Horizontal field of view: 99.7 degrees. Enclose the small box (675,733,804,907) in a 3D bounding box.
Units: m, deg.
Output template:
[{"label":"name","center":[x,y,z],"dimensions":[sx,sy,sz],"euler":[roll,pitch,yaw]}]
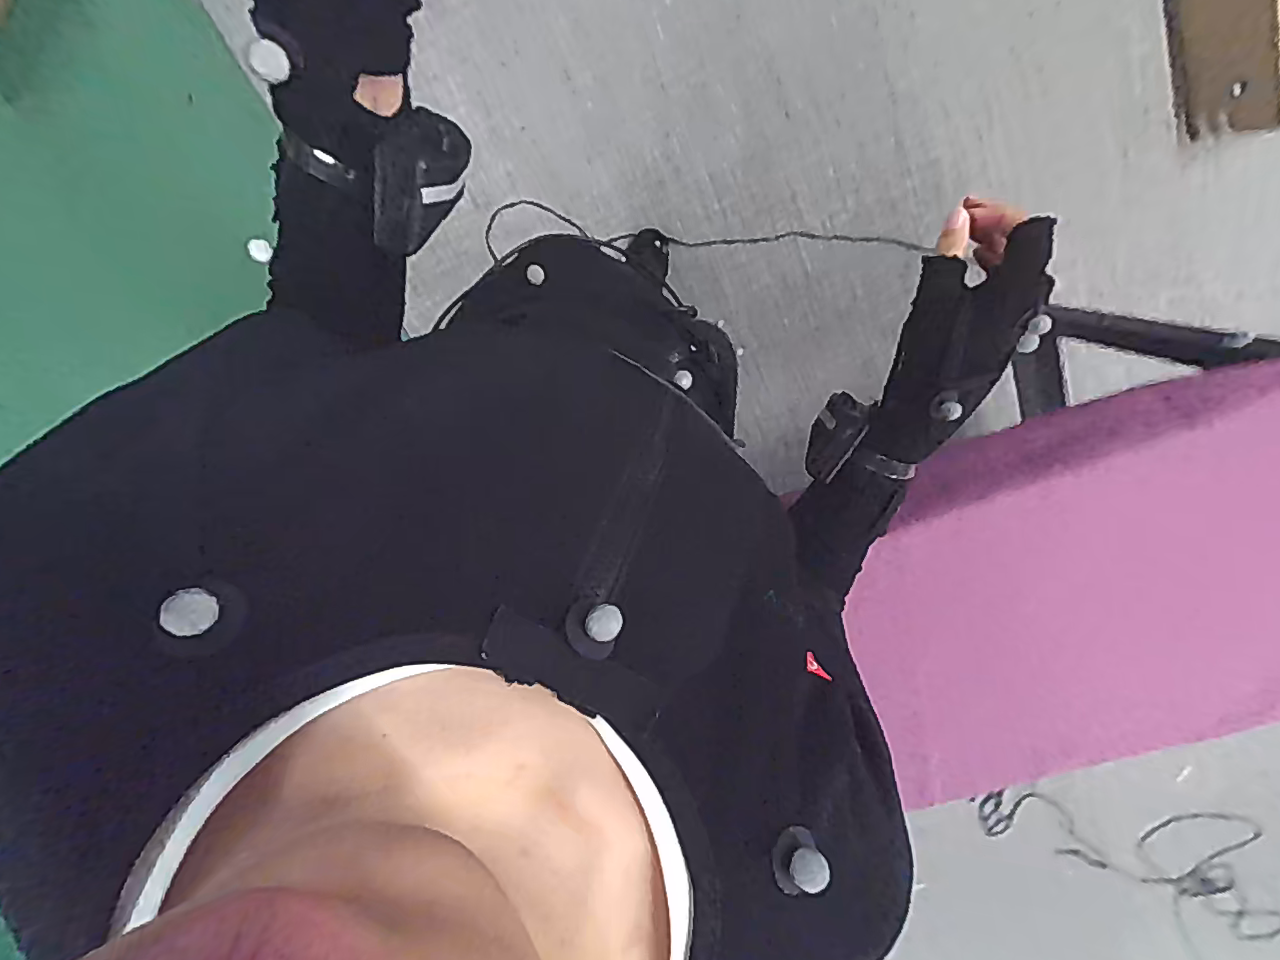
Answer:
[{"label":"small box","center":[0.158,0.562,0.902],"dimensions":[0.168,0.176,0.179],"euler":[-17,114,7]}]
